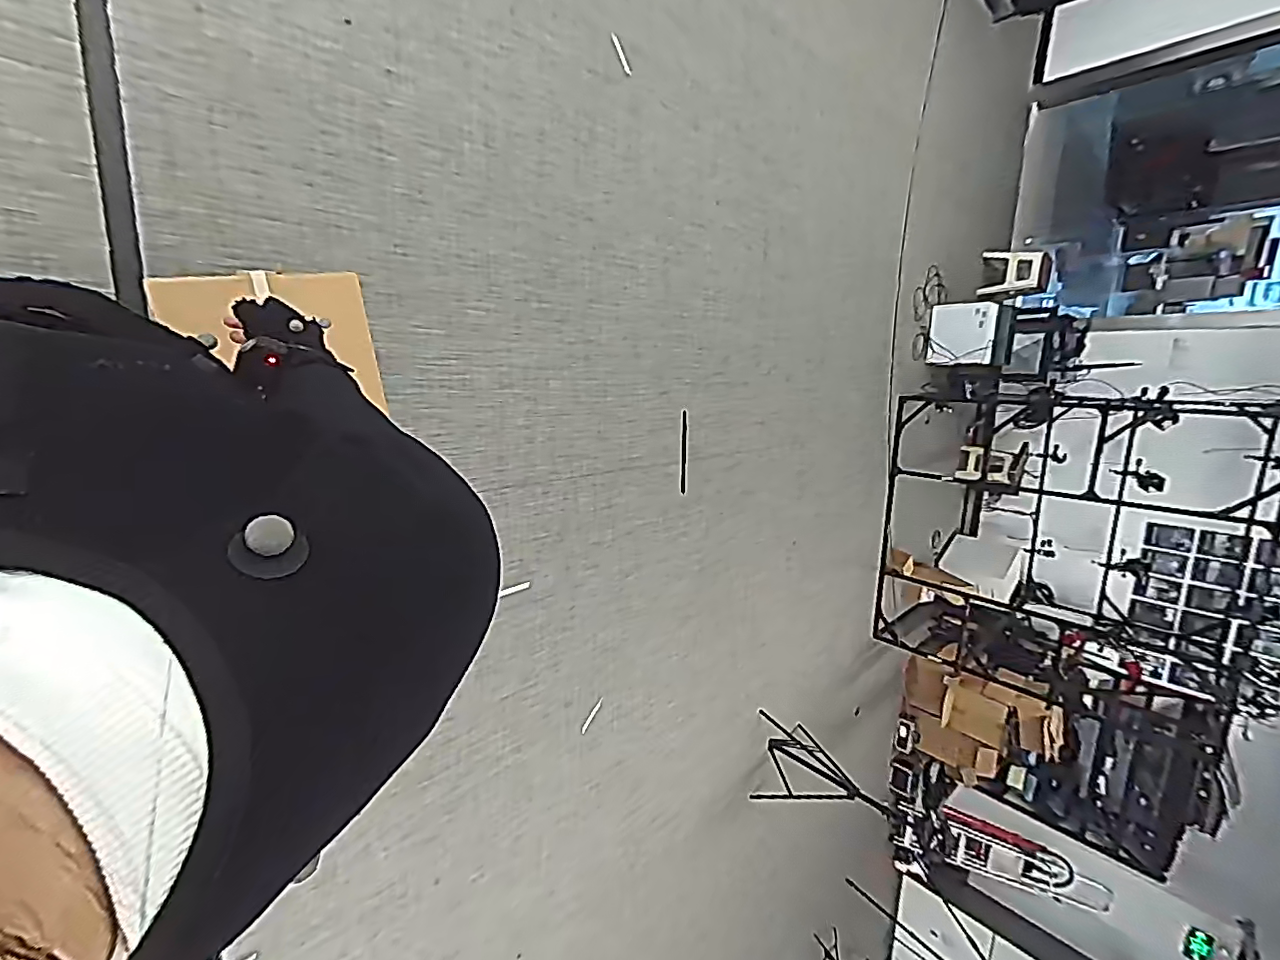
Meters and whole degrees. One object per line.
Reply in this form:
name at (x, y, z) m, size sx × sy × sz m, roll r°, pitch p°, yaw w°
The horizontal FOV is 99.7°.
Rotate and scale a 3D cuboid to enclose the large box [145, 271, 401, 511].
large box at (-0.733, -0.197, 1.107) m, size 0.320 × 0.320 × 0.408 m, roll -17°, pitch 111°, yaw -33°
